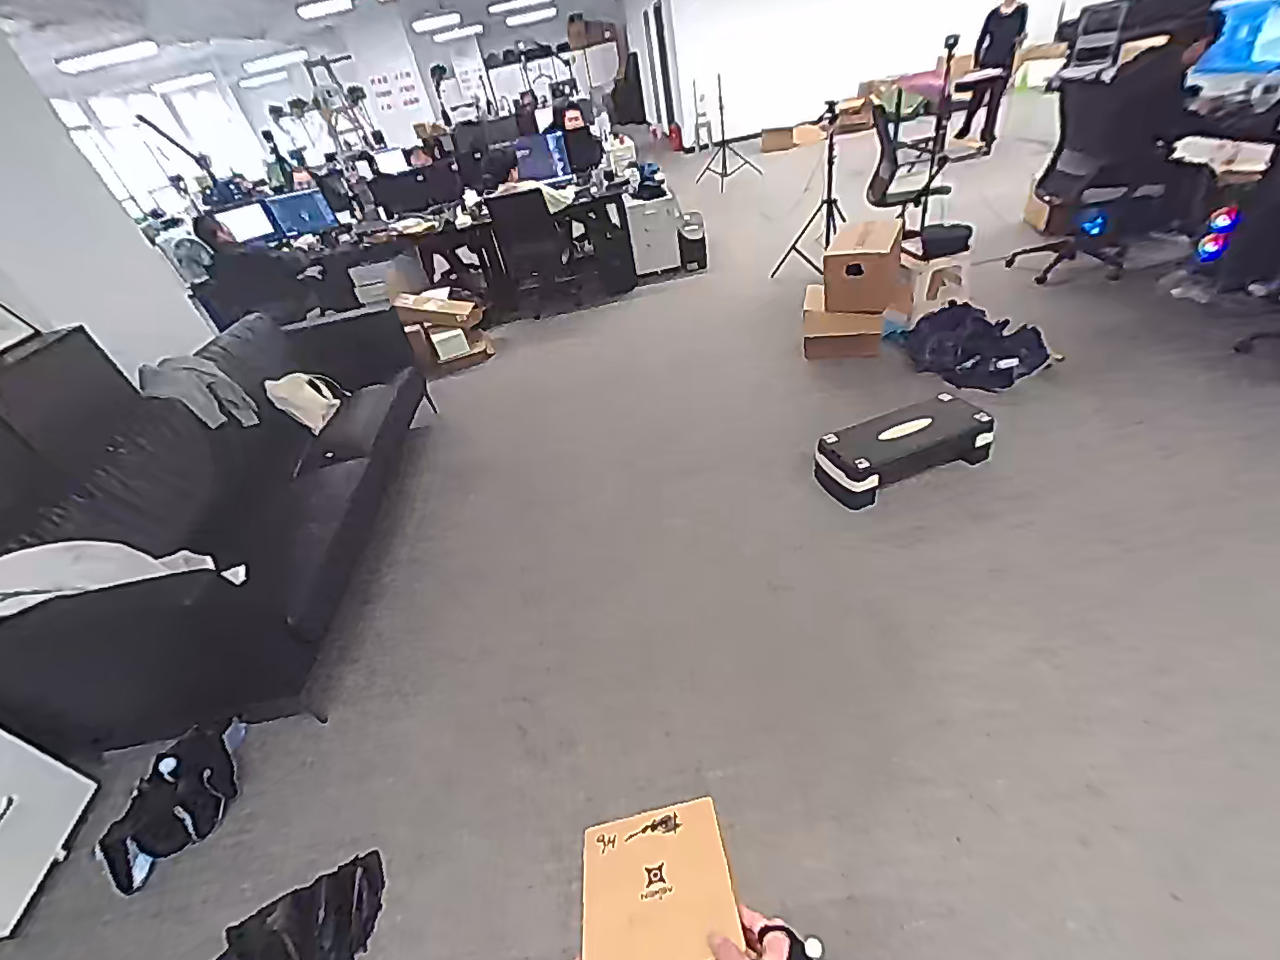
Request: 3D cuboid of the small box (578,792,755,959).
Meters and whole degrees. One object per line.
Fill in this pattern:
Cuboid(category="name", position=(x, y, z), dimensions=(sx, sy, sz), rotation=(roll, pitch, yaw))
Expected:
Cuboid(category="small box", position=(0.034, 0.509, 0.619), dimensions=(0.168, 0.176, 0.179), rotation=(-16, 21, 2))
